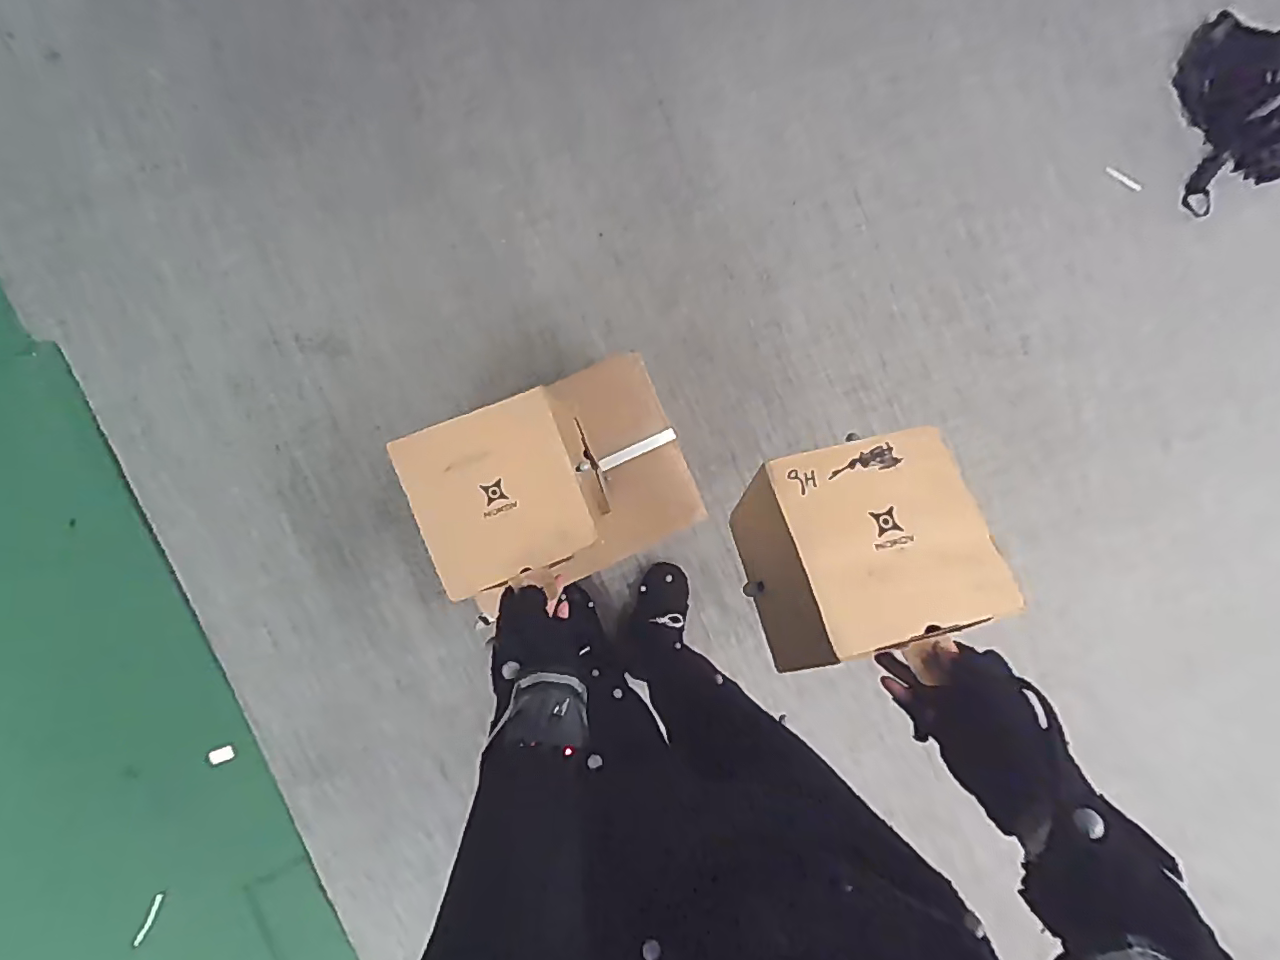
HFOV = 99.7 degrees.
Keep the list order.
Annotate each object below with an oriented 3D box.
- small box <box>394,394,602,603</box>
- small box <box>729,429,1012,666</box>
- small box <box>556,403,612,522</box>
[{"bbox_3d":[-0.146,0.015,0.627,0.168,0.176,0.179,-21,94,-3],"label":"small box"},{"bbox_3d":[0.202,0.076,0.533,0.168,0.176,0.179,-13,70,-9],"label":"small box"},{"bbox_3d":[-0.148,-0.007,0.787,0.179,0.176,0.168,-17,94,-2],"label":"small box"}]
